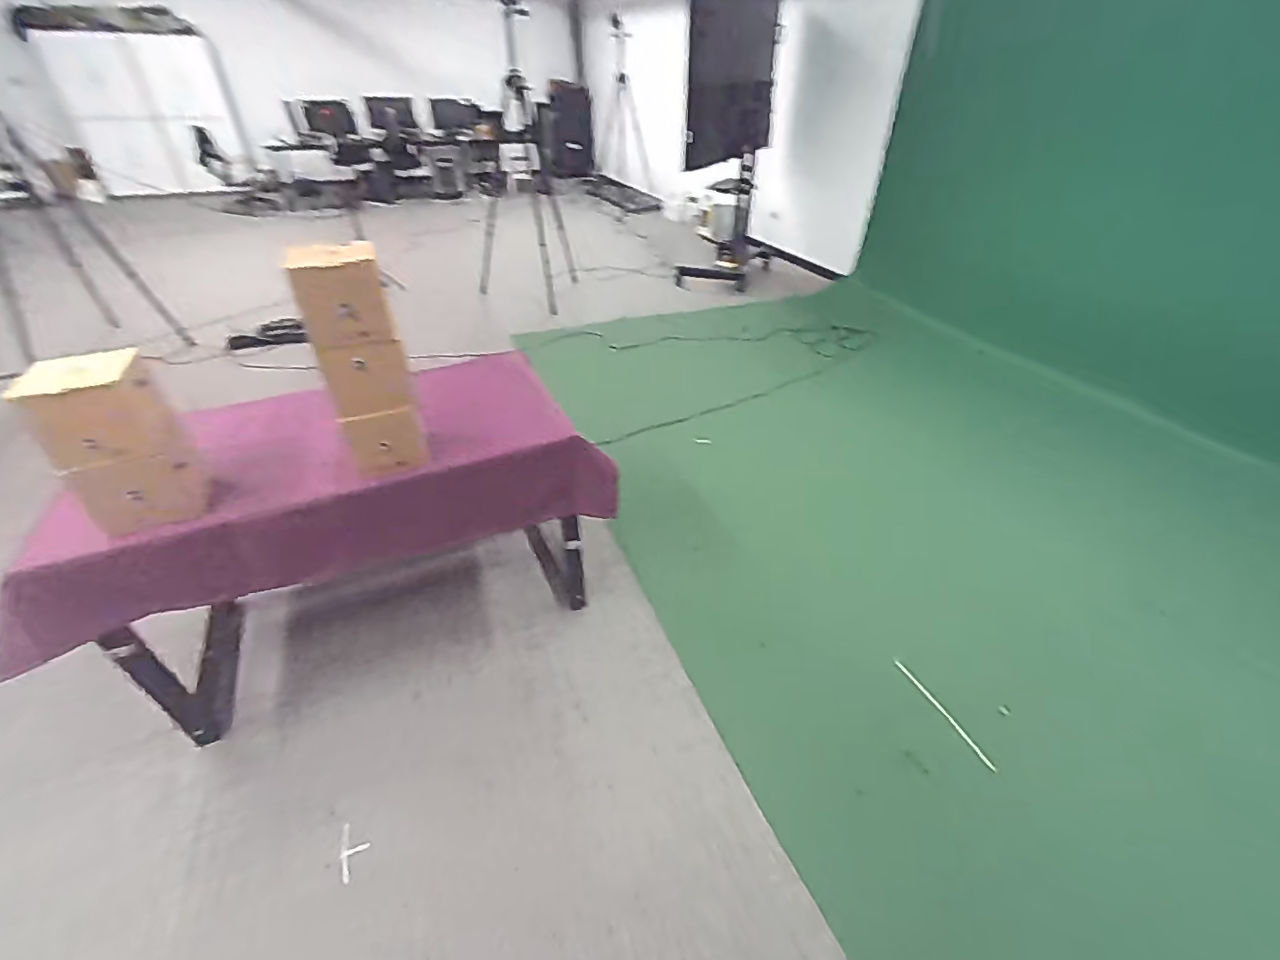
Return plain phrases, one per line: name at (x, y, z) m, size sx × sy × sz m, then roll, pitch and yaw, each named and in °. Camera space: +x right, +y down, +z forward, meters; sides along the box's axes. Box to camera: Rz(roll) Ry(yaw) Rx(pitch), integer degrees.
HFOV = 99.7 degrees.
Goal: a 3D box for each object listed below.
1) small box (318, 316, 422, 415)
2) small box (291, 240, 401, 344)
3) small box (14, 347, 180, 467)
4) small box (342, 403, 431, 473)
small box at (-0.623, -0.266, 1.261) m, size 0.179 × 0.176 × 0.168 m, roll -12°, pitch 39°, yaw -18°
small box at (-0.625, -0.402, 1.168) m, size 0.168 × 0.176 × 0.179 m, roll -13°, pitch 40°, yaw -18°
small box at (-1.077, -0.150, 1.096) m, size 0.168 × 0.176 × 0.179 m, roll -15°, pitch 40°, yaw -20°
small box at (-0.631, -0.131, 1.355) m, size 0.168 × 0.176 × 0.179 m, roll -13°, pitch 39°, yaw -18°
